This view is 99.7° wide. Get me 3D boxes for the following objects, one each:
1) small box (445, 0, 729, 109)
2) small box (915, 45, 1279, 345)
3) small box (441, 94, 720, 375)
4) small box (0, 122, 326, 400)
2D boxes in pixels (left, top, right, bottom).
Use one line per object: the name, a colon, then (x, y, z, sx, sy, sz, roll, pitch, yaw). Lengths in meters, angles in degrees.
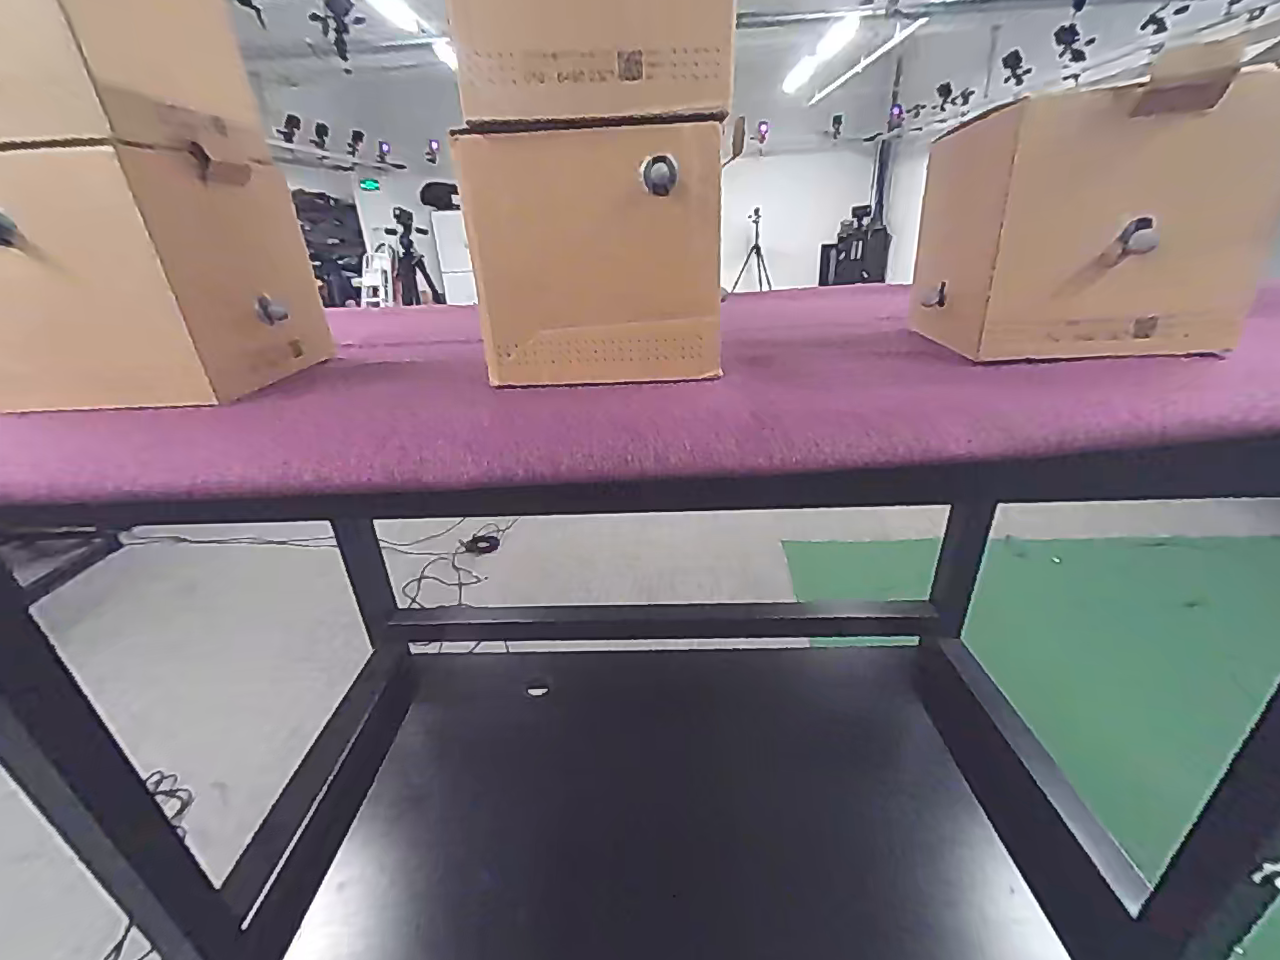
small box: (-0.031, -0.330, 0.363, 0.168, 0.176, 0.179, -1, 23, 0)
small box: (0.331, -0.200, 0.416, 0.168, 0.176, 0.179, 0, 24, 9)
small box: (-0.031, -0.183, 0.431, 0.179, 0.176, 0.168, -2, 25, 2)
small box: (-0.393, -0.165, 0.426, 0.179, 0.176, 0.168, -2, 27, 2)
